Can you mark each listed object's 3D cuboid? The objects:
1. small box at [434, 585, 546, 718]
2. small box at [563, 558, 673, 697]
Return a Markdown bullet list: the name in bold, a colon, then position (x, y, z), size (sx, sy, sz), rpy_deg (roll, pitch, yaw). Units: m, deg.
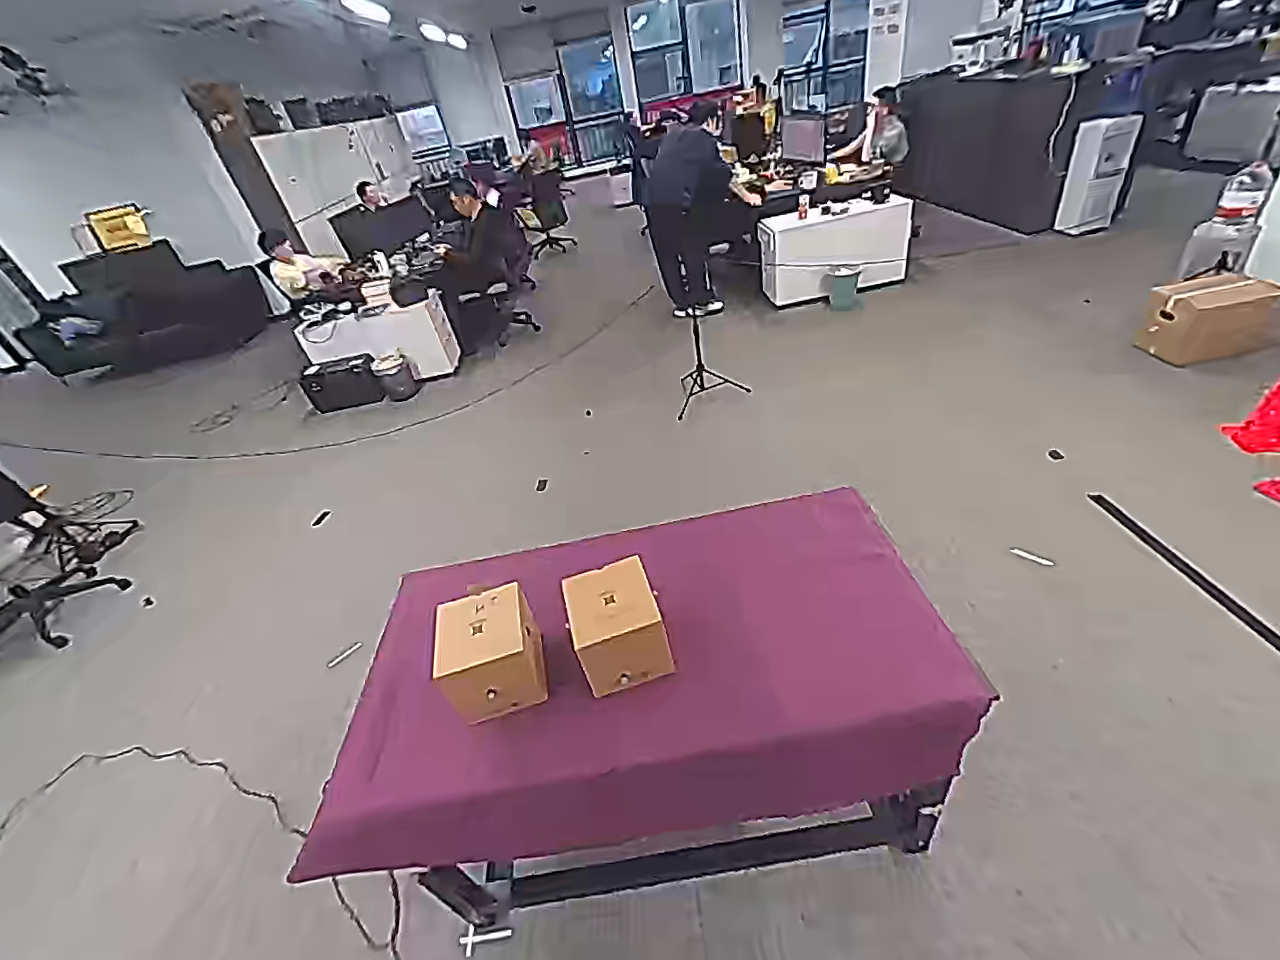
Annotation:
- **small box**: position (-0.291, 0.345, 1.074), size (0.168, 0.176, 0.179), rpy_deg (-16, 36, -5)
- **small box**: position (-0.044, 0.291, 1.075), size (0.168, 0.176, 0.179), rpy_deg (-17, 36, -5)
